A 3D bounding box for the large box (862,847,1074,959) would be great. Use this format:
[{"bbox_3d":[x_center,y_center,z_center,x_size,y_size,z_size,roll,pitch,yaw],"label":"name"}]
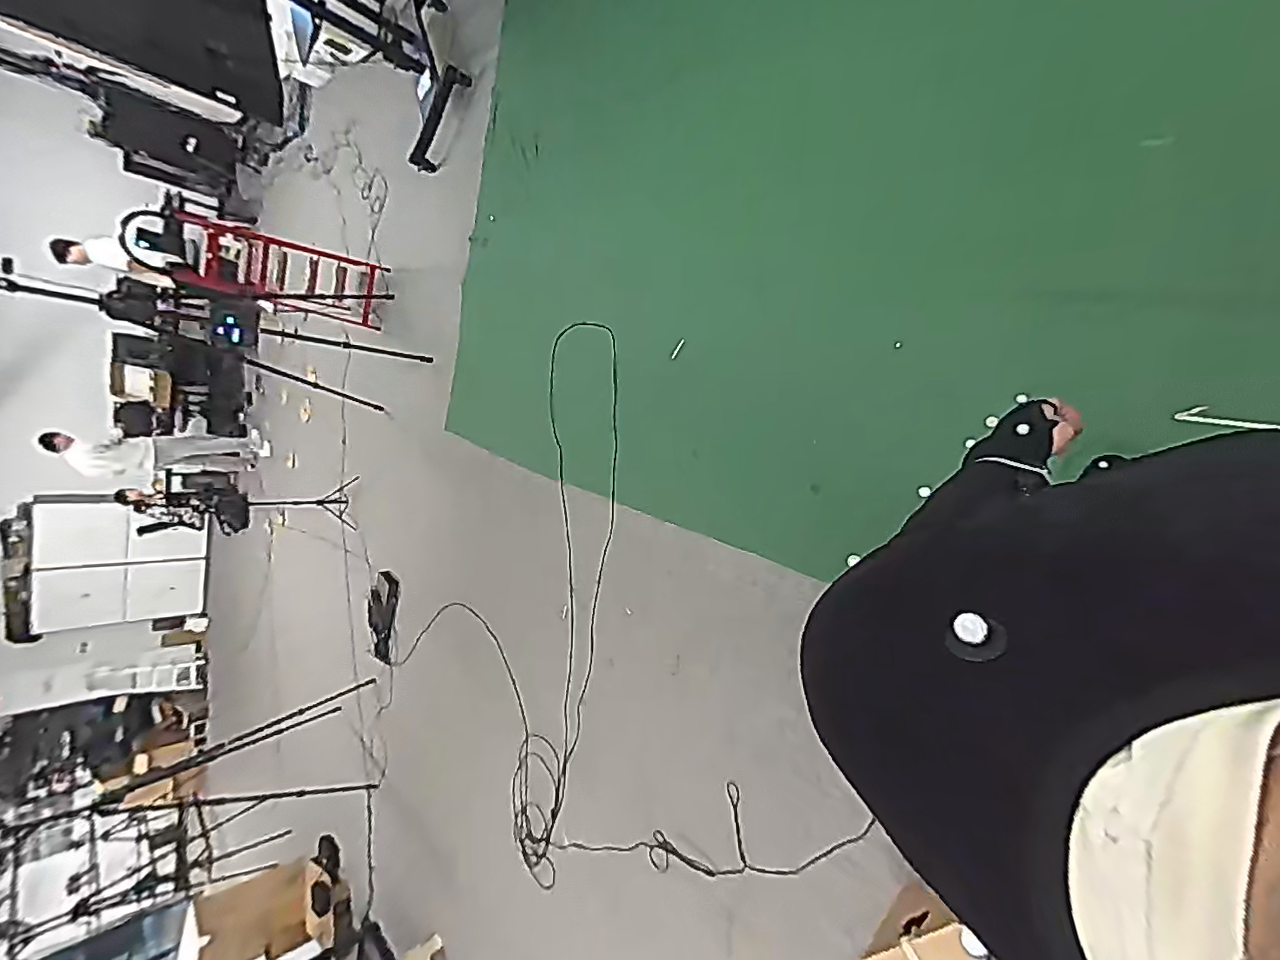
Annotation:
[{"bbox_3d":[0.832,1.212,1.297,0.320,0.320,0.408,-53,57,28],"label":"large box"}]
